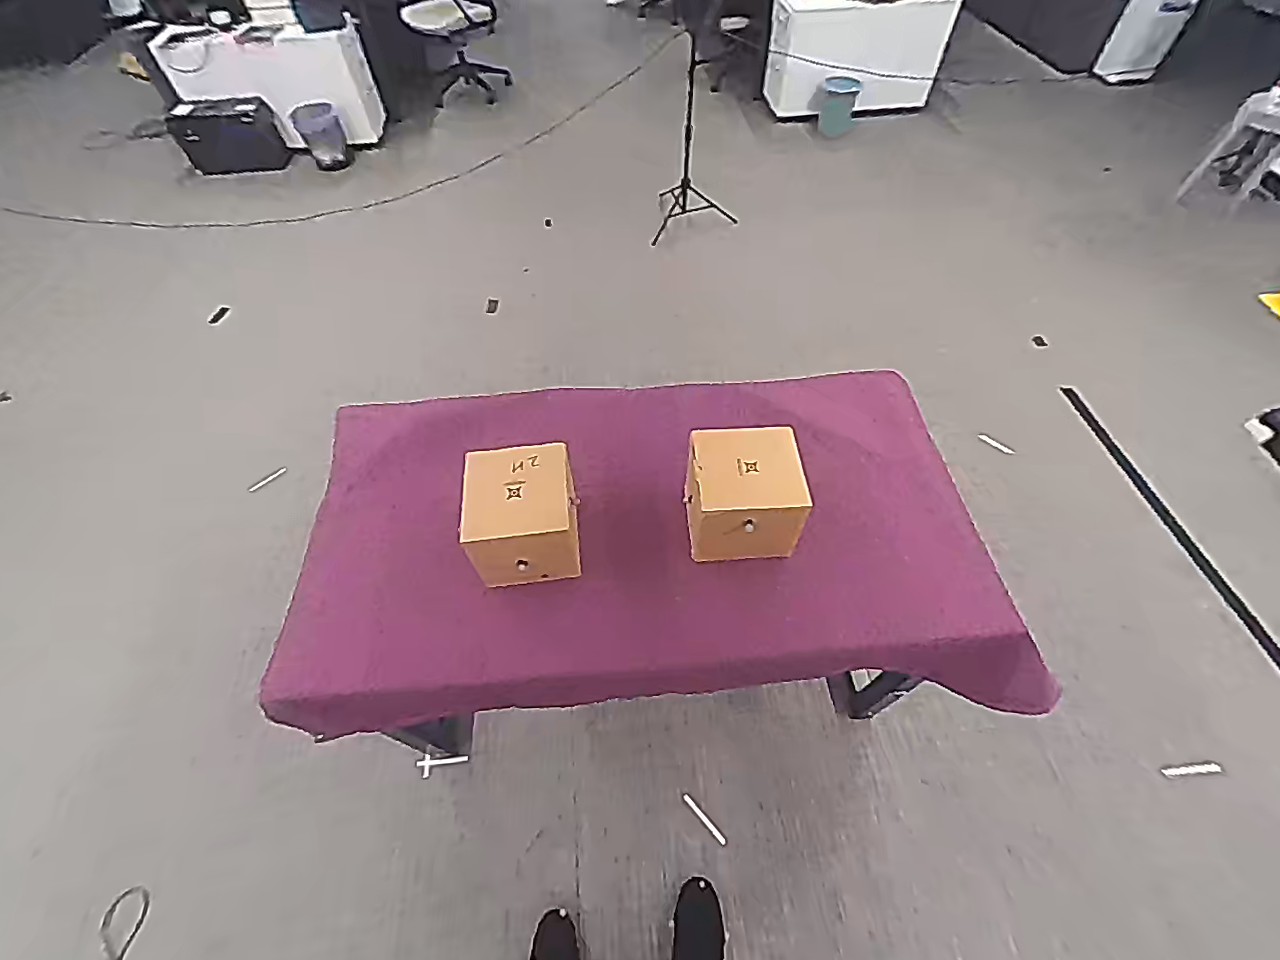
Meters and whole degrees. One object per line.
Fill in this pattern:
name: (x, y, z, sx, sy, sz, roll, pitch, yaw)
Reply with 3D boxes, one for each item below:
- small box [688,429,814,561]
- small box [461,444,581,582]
small box: (0.180, 0.030, 0.938, 0.179, 0.176, 0.168, -3, 55, 0)
small box: (-0.193, 0.063, 0.919, 0.168, 0.176, 0.179, -6, 55, -3)
